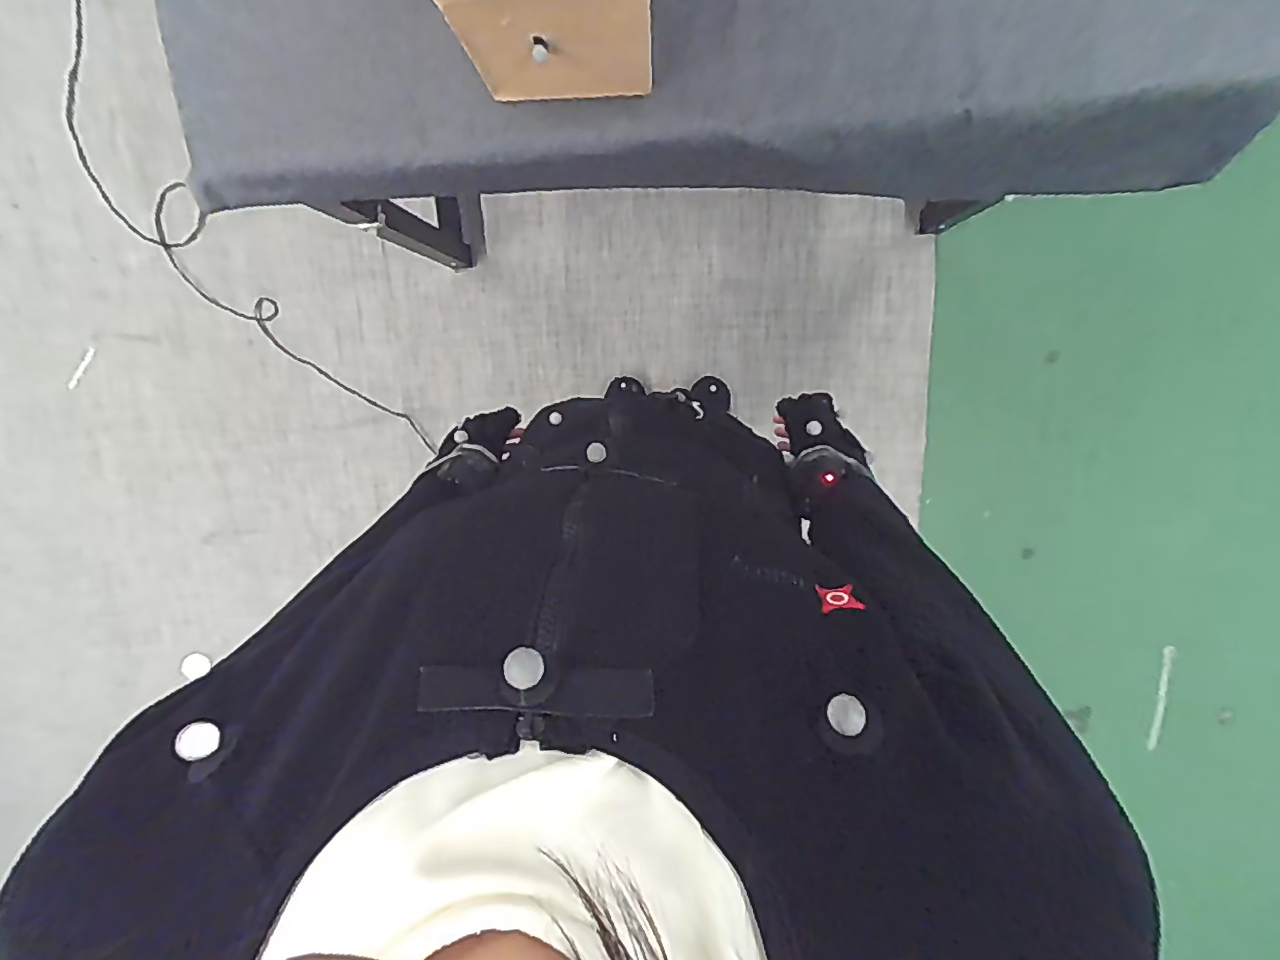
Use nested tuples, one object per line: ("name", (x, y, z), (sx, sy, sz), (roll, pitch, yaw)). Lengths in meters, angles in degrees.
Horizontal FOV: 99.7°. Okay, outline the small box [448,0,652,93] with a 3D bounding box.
("small box", (-0.080, -0.499, 0.513), (0.179, 0.176, 0.168), (0, 100, 4))
